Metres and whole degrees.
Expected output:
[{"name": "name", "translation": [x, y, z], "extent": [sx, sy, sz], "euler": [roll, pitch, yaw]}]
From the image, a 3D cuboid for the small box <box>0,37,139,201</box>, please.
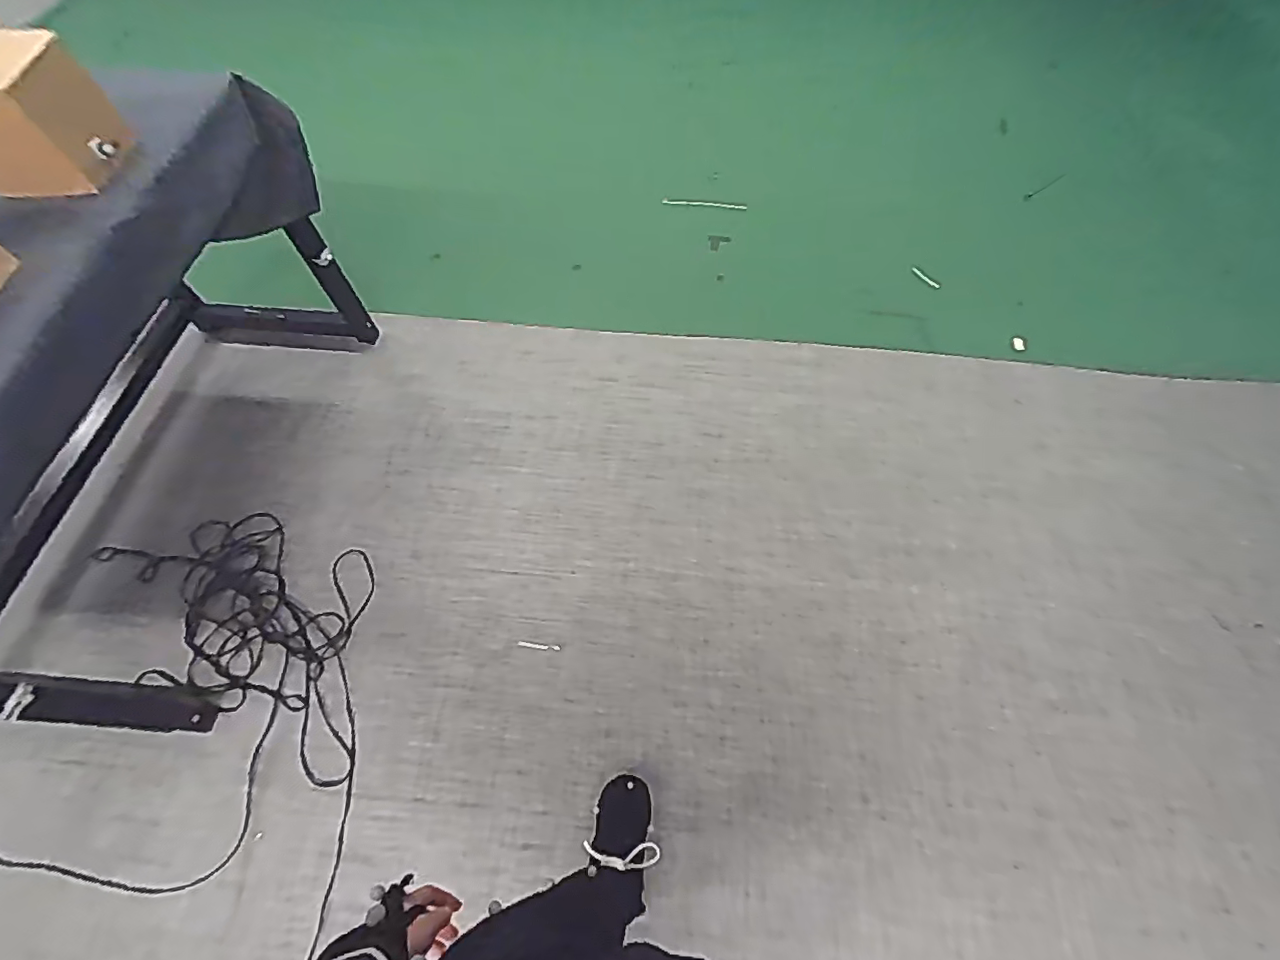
[{"name": "small box", "translation": [-0.991, -0.577, 0.875], "extent": [0.179, 0.176, 0.168], "euler": [-1, 63, -2]}]
